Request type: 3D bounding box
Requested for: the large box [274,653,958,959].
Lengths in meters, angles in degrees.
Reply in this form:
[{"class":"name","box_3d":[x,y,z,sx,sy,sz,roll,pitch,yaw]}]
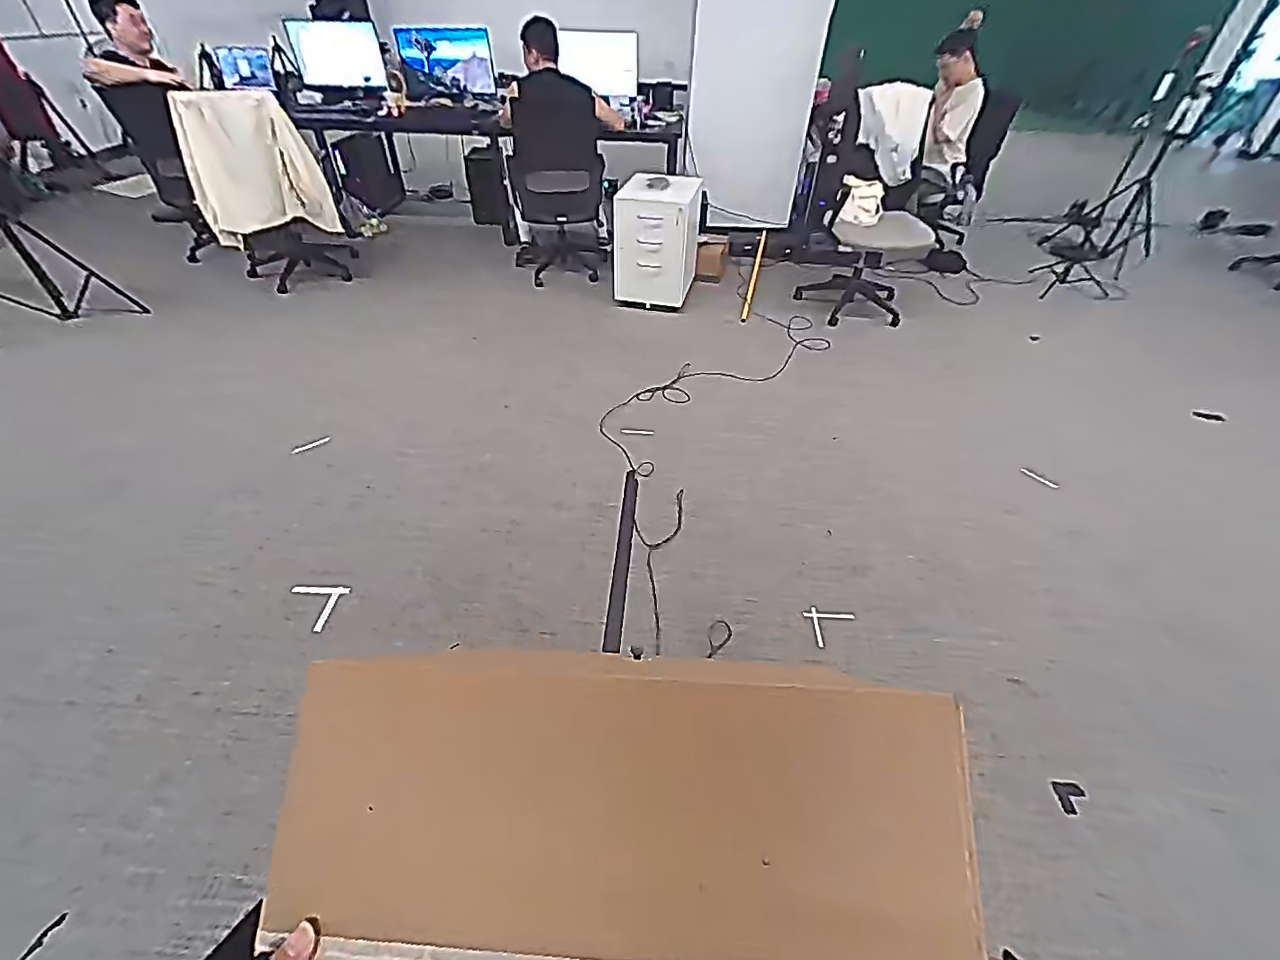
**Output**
[{"class":"large box","box_3d":[-0.010,0.320,0.454,0.408,0.320,0.320,1,75,4]}]
